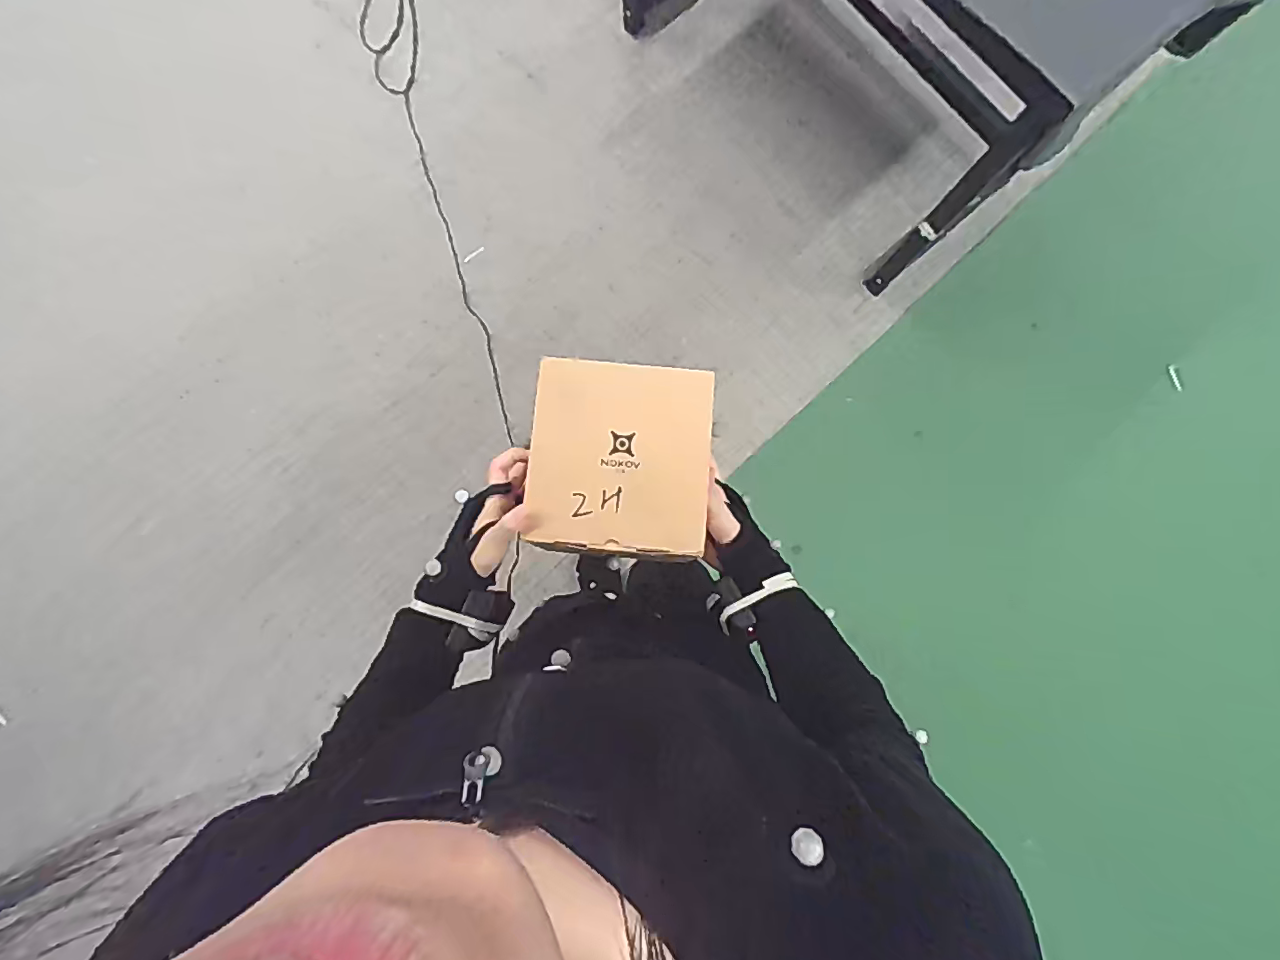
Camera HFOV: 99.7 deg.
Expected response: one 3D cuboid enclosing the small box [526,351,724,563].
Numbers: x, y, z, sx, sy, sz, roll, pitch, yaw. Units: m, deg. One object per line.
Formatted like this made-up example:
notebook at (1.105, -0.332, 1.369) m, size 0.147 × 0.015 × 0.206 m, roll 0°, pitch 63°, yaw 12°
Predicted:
small box at (-0.015, -0.011, 0.559) m, size 0.168 × 0.176 × 0.179 m, roll 5°, pitch 79°, yaw -2°
